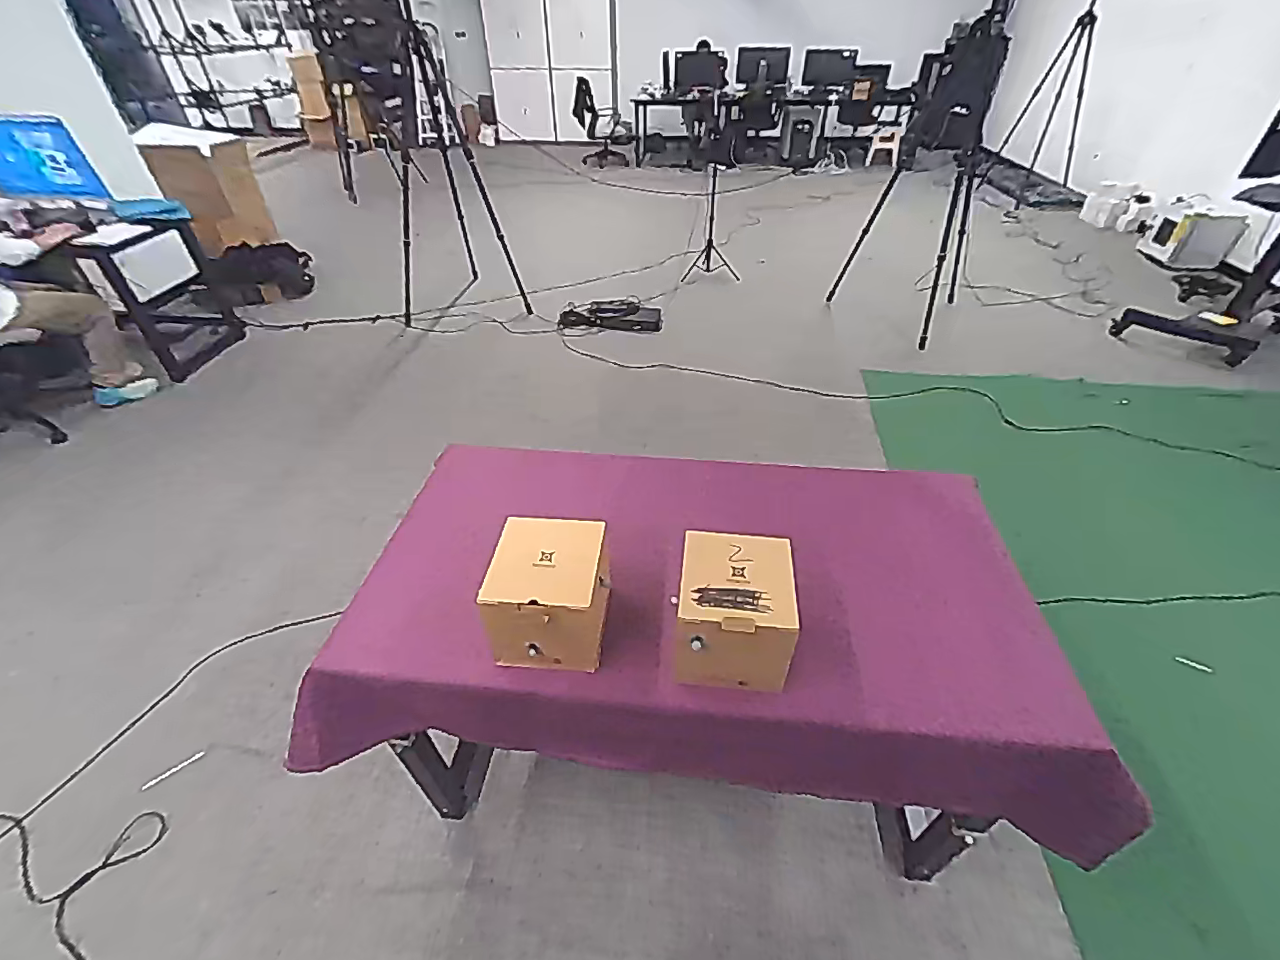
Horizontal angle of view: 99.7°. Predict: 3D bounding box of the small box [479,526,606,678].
[{"bbox_3d":[-0.148,0.199,0.892,0.168,0.176,0.179,2,41,4],"label":"small box"}]
